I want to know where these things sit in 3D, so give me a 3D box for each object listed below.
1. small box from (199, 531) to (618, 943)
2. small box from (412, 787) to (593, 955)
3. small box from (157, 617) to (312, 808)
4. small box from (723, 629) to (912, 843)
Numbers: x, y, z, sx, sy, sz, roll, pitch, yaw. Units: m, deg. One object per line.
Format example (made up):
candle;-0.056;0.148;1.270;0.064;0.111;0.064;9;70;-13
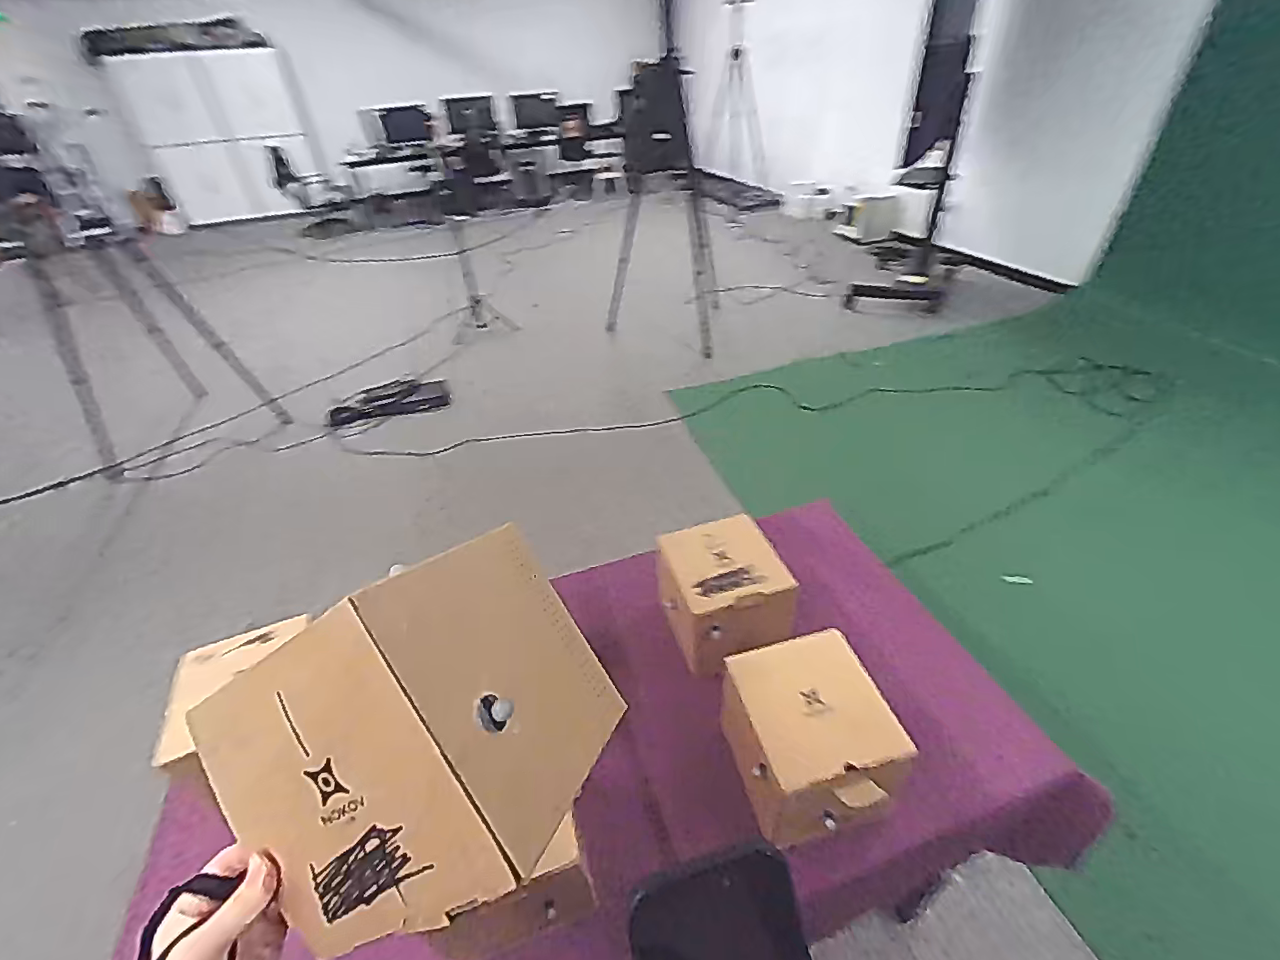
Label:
small box;-0.142;0.160;0.382;0.168;0.179;0.176;-32;-2;20
small box;-0.160;0.418;0.640;0.168;0.176;0.179;-14;38;-13
small box;-0.534;0.338;0.780;0.168;0.176;0.179;-17;41;-16
small box;0.213;0.332;0.709;0.168;0.176;0.179;-12;39;-9
